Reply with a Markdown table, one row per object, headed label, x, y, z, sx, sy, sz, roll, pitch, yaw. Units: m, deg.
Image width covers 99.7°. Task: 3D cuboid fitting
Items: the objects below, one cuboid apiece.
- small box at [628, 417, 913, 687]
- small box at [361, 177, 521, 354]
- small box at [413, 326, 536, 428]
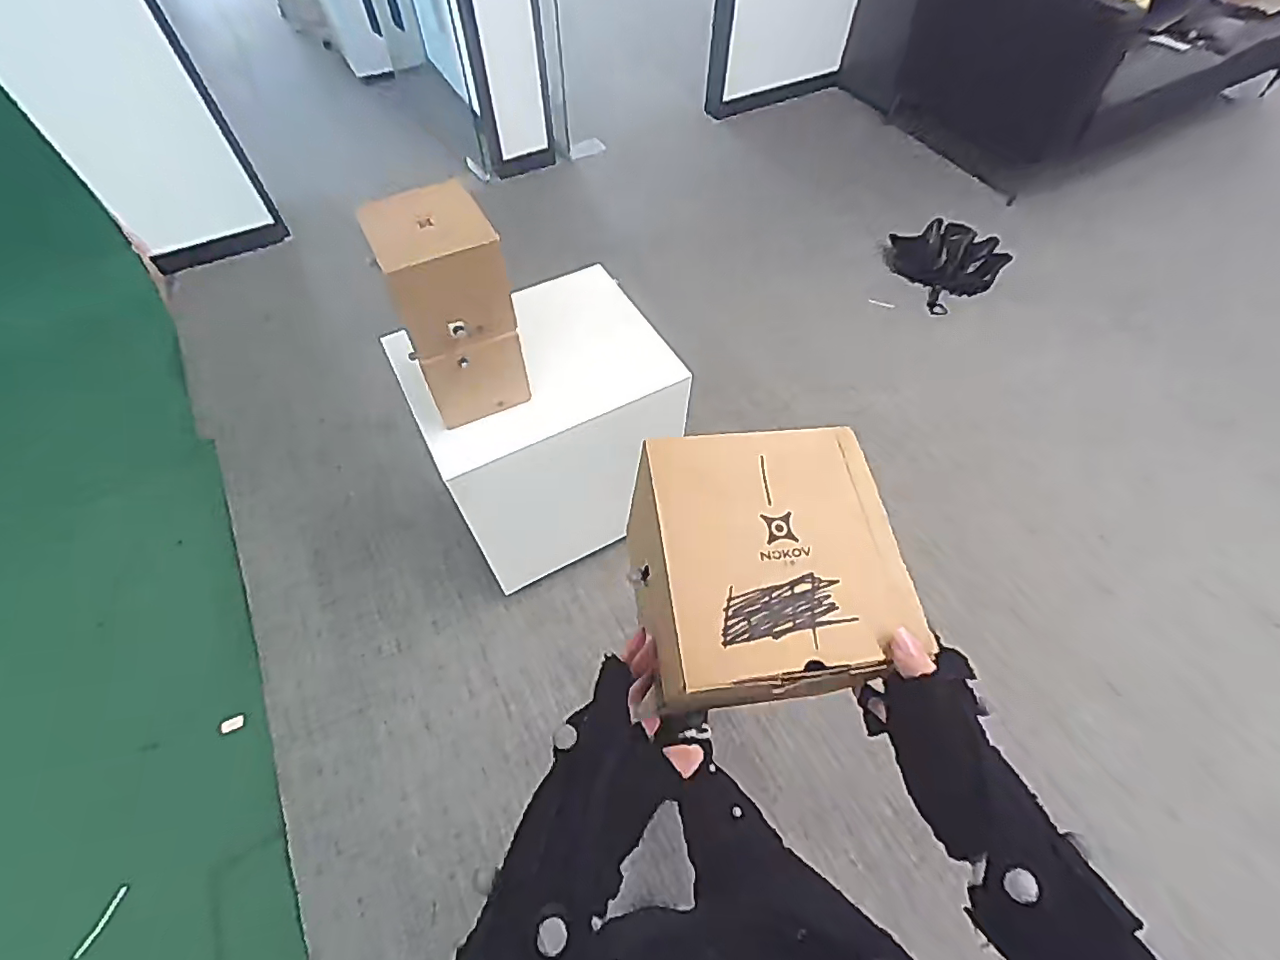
| label | x | y | z | sx | sy | sz | roll | pitch | yaw |
| --- | --- | --- | --- | --- | --- | --- | --- | --- | --- |
| small box | 0.083 | 0.069 | 0.452 | 0.168 | 0.176 | 0.179 | -4 | 62 | -8 |
| small box | -0.302 | -0.331 | 0.844 | 0.168 | 0.176 | 0.179 | -25 | 62 | -16 |
| small box | -0.304 | -0.227 | 0.990 | 0.168 | 0.176 | 0.179 | -23 | 60 | -15 |
